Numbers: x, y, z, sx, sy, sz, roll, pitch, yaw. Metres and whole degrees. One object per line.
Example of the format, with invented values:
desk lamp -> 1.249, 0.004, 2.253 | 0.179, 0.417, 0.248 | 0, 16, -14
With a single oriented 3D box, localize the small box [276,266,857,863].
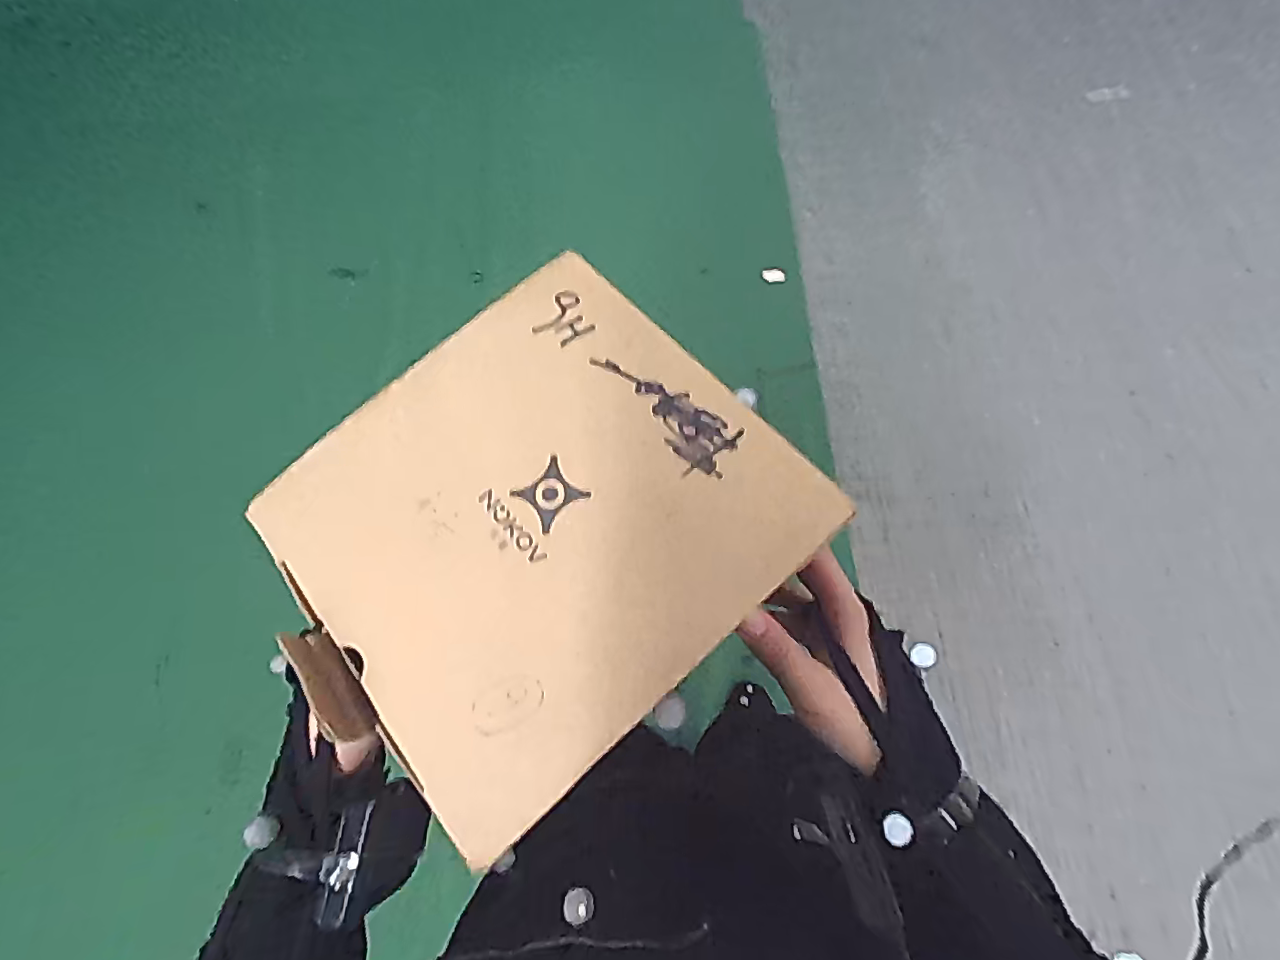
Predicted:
small box -> -0.026, 0.039, 0.285 | 0.179, 0.176, 0.168 | -41, 75, -7
